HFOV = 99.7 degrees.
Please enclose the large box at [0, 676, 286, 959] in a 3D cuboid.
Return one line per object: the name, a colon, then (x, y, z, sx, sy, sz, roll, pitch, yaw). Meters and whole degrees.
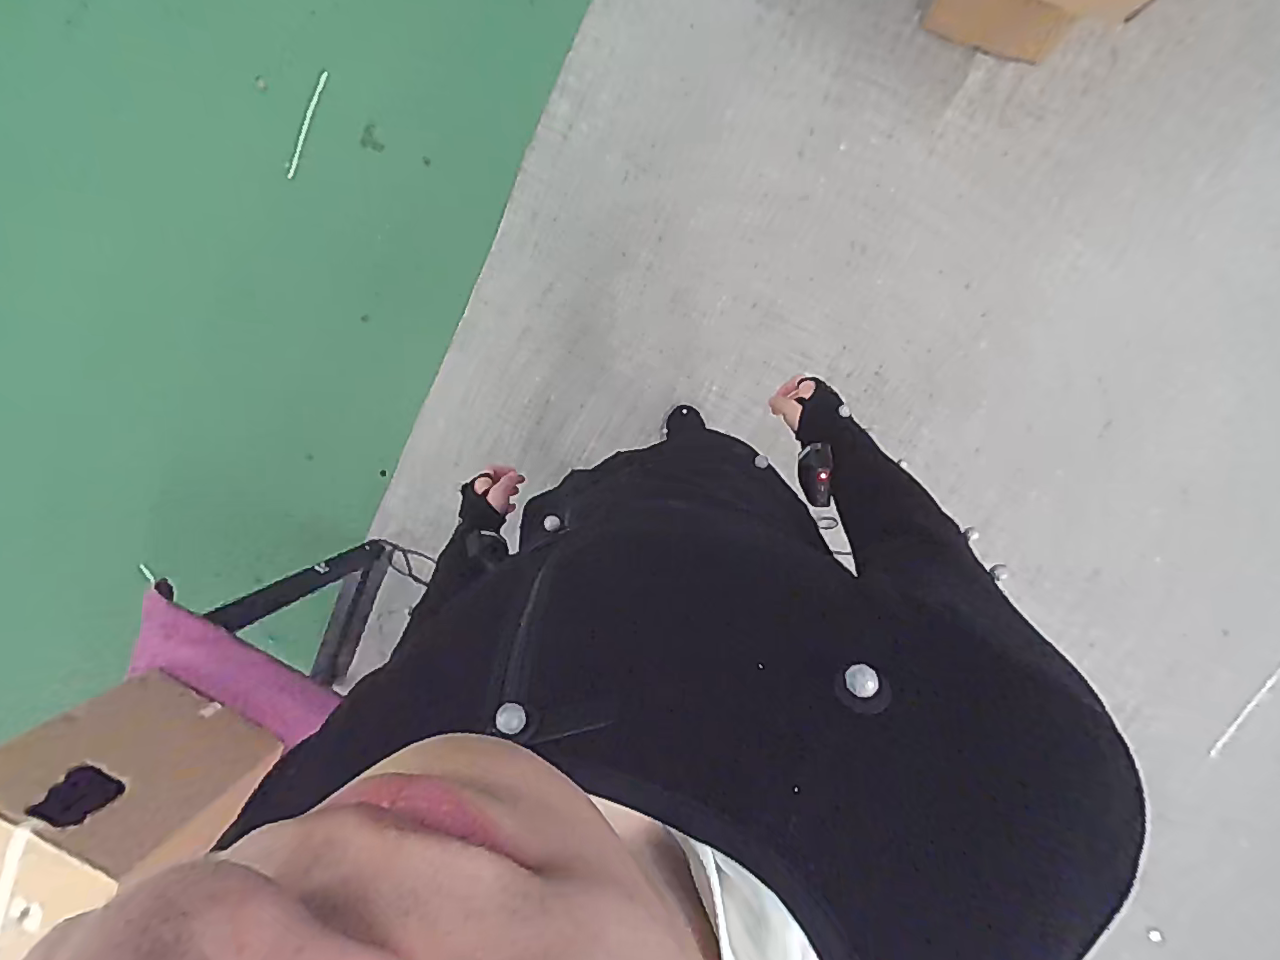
large box: (-0.926, 0.647, 0.958, 0.320, 0.320, 0.408, 28, 101, 1)
